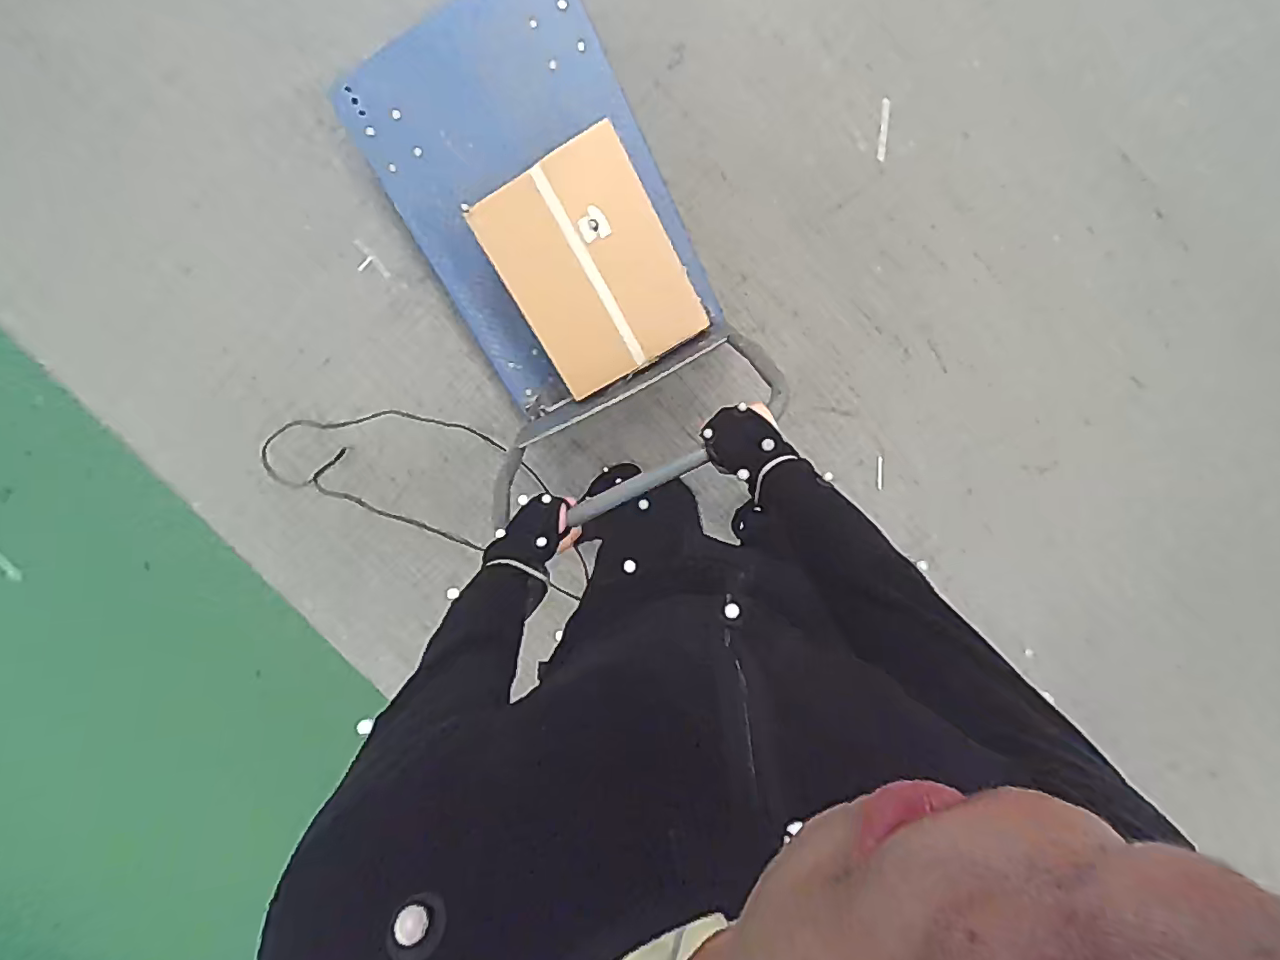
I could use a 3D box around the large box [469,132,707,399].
[{"bbox_3d":[-0.094,-0.448,1.193,0.320,0.320,0.408,-29,108,9],"label":"large box"}]
